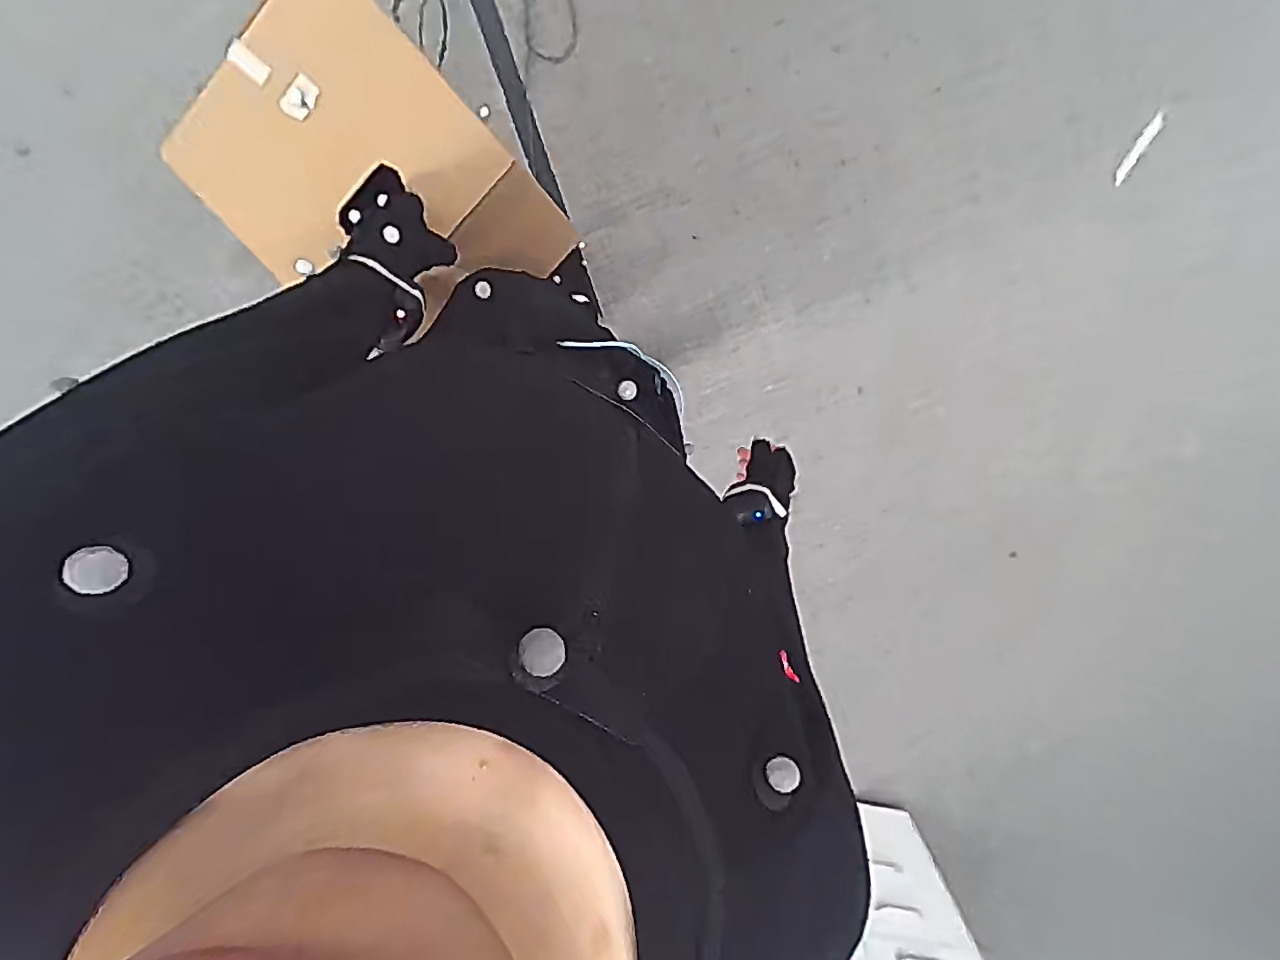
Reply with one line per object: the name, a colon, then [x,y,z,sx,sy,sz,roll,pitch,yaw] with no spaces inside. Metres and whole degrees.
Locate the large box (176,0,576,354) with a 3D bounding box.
large box: [-0.351,-0.416,0.832,0.320,0.408,0.320,-42,96,13]
